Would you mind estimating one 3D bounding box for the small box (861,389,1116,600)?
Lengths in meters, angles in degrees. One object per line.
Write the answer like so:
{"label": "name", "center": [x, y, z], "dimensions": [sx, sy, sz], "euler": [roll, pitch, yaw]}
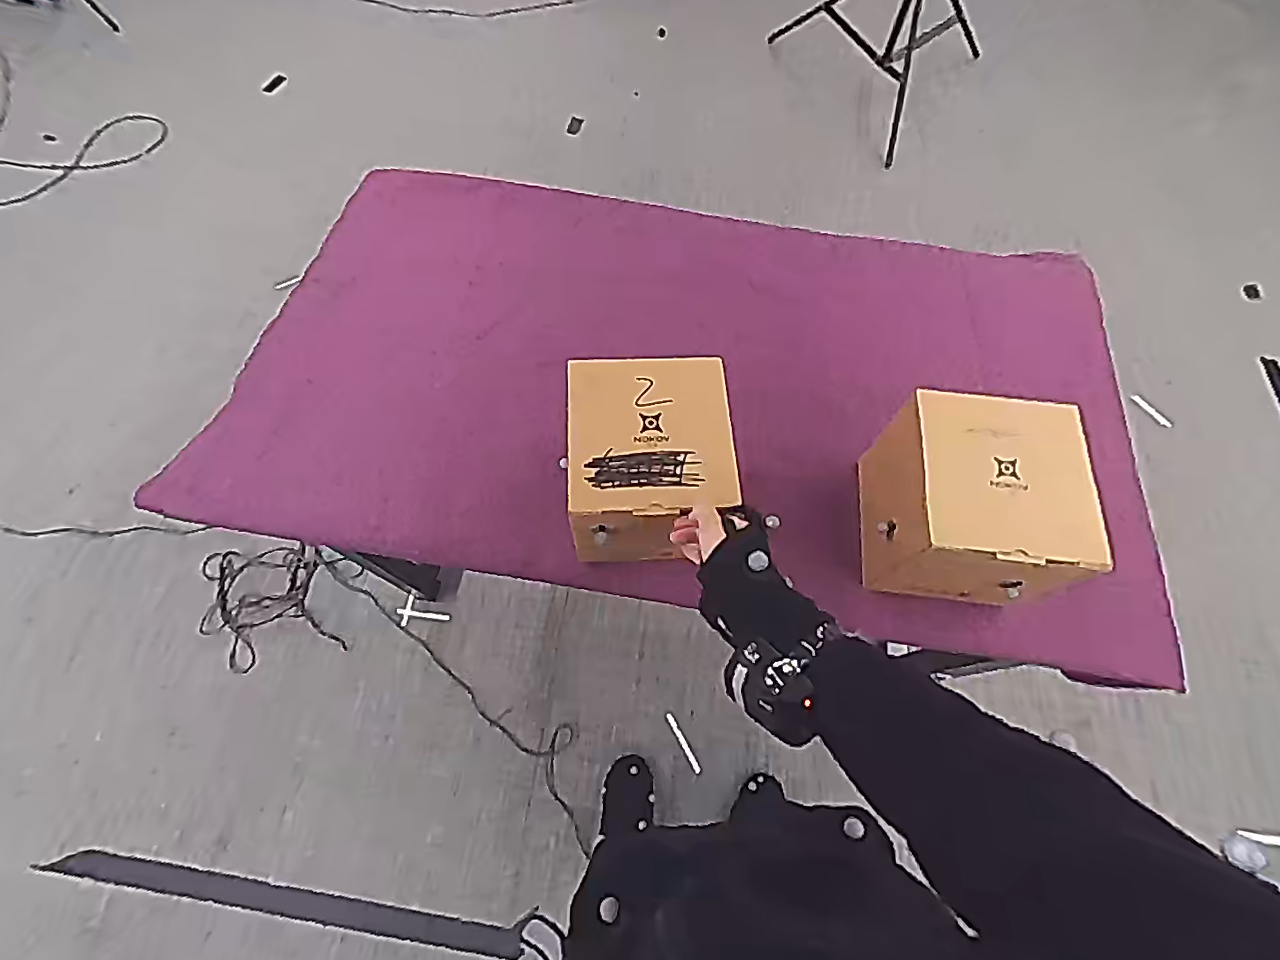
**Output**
{"label": "small box", "center": [0.357, 0.025, 0.595], "dimensions": [0.168, 0.176, 0.179], "euler": [7, 65, 2]}
